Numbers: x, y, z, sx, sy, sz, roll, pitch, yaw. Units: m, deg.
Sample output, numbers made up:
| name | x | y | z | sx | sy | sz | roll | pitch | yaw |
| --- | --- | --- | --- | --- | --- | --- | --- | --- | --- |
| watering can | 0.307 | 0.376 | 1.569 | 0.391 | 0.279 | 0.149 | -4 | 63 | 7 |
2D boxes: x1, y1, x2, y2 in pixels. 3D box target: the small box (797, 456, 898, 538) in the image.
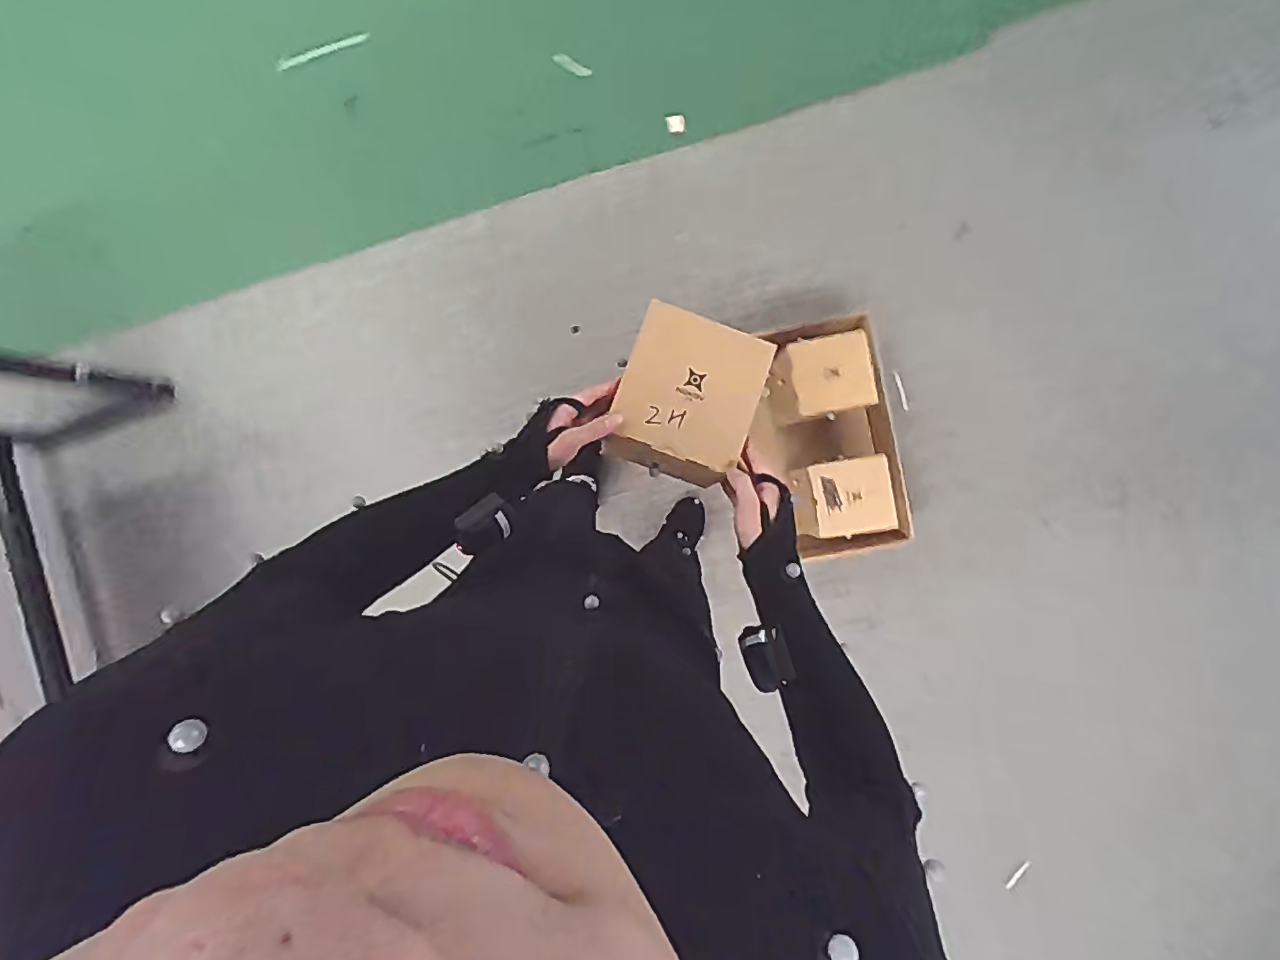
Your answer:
| name | x | y | z | sx | sy | sz | roll | pitch | yaw |
| --- | --- | --- | --- | --- | --- | --- | --- | --- | --- |
| small box | 0.480 | 0.042 | 1.281 | 0.179 | 0.176 | 0.168 | -8 | 88 | 4 |

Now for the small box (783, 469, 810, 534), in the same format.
| name | x | y | z | sx | sy | sz | roll | pitch | yaw |
| --- | --- | --- | --- | --- | --- | --- | --- | --- | --- |
| small box | 0.495 | 0.044 | 1.444 | 0.179 | 0.176 | 0.168 | -10 | 88 | 5 |

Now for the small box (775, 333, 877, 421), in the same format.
| name | x | y | z | sx | sy | sz | roll | pitch | yaw |
| --- | --- | --- | --- | --- | --- | --- | --- | --- | --- |
| small box | 0.435 | -0.238 | 1.286 | 0.179 | 0.176 | 0.168 | -10 | 91 | 5 |
